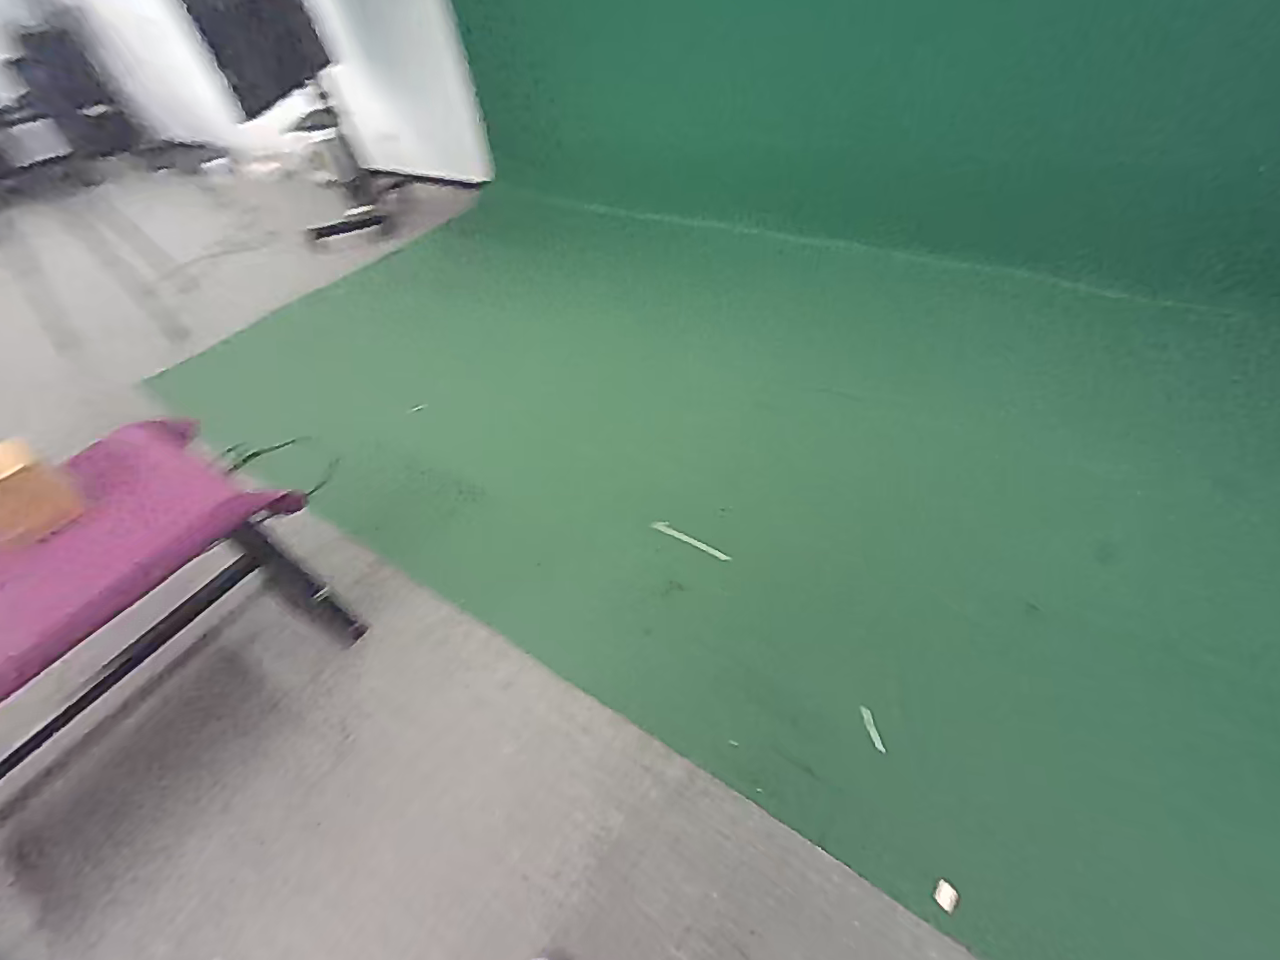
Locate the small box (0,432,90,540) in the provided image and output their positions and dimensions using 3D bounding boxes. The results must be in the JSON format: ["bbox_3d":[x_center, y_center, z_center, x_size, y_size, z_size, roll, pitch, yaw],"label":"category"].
[{"bbox_3d":[-1.500,0.020,1.307,0.179,0.176,0.168,28,56,30],"label":"small box"}]
